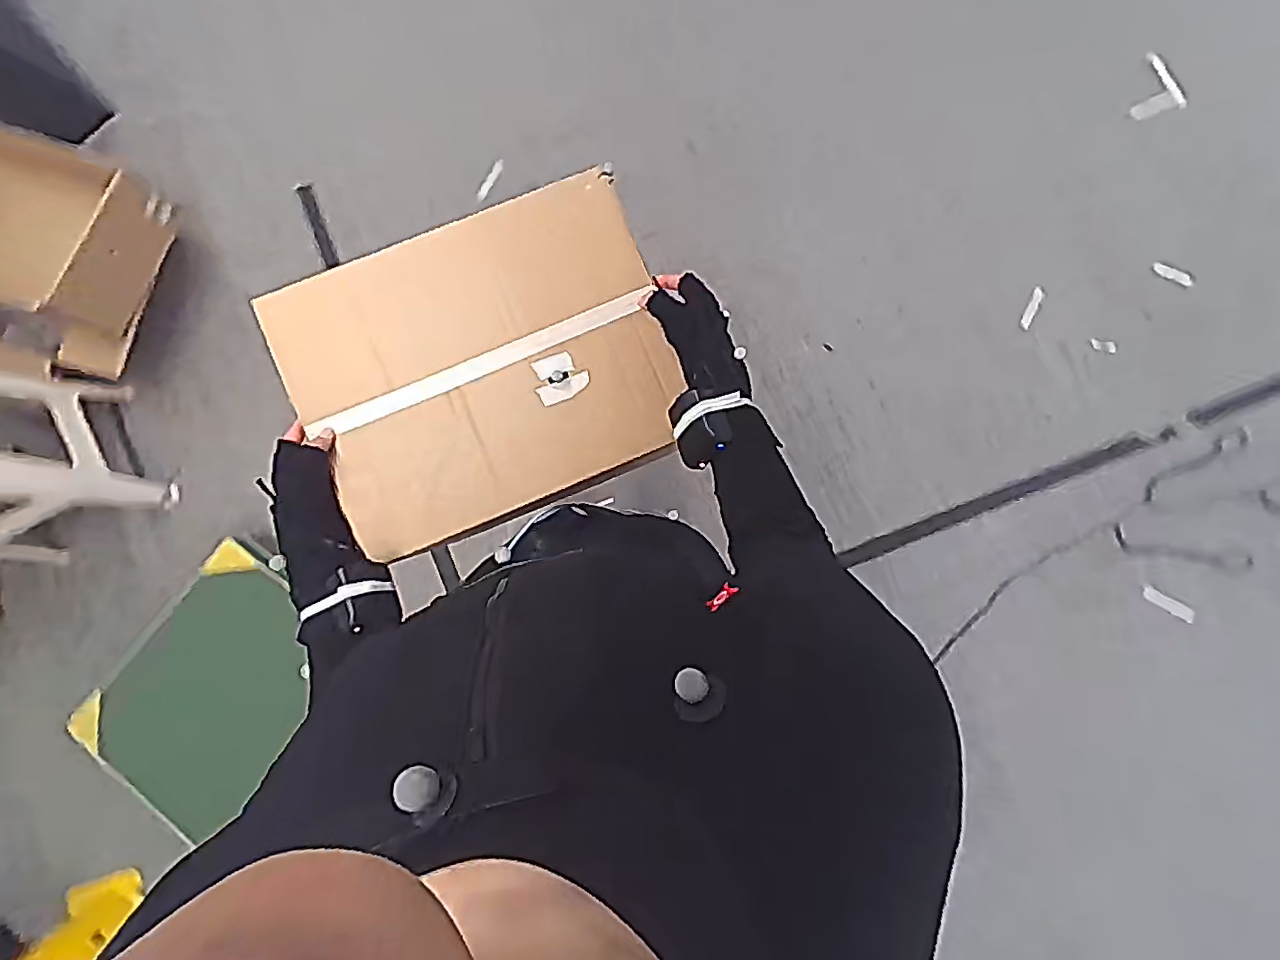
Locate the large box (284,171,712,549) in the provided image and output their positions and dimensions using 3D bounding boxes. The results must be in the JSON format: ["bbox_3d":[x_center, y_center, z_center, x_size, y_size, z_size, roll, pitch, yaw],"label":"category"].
[{"bbox_3d":[-0.163,-0.132,0.749,0.408,0.320,0.320,-21,91,-3],"label":"large box"}]
